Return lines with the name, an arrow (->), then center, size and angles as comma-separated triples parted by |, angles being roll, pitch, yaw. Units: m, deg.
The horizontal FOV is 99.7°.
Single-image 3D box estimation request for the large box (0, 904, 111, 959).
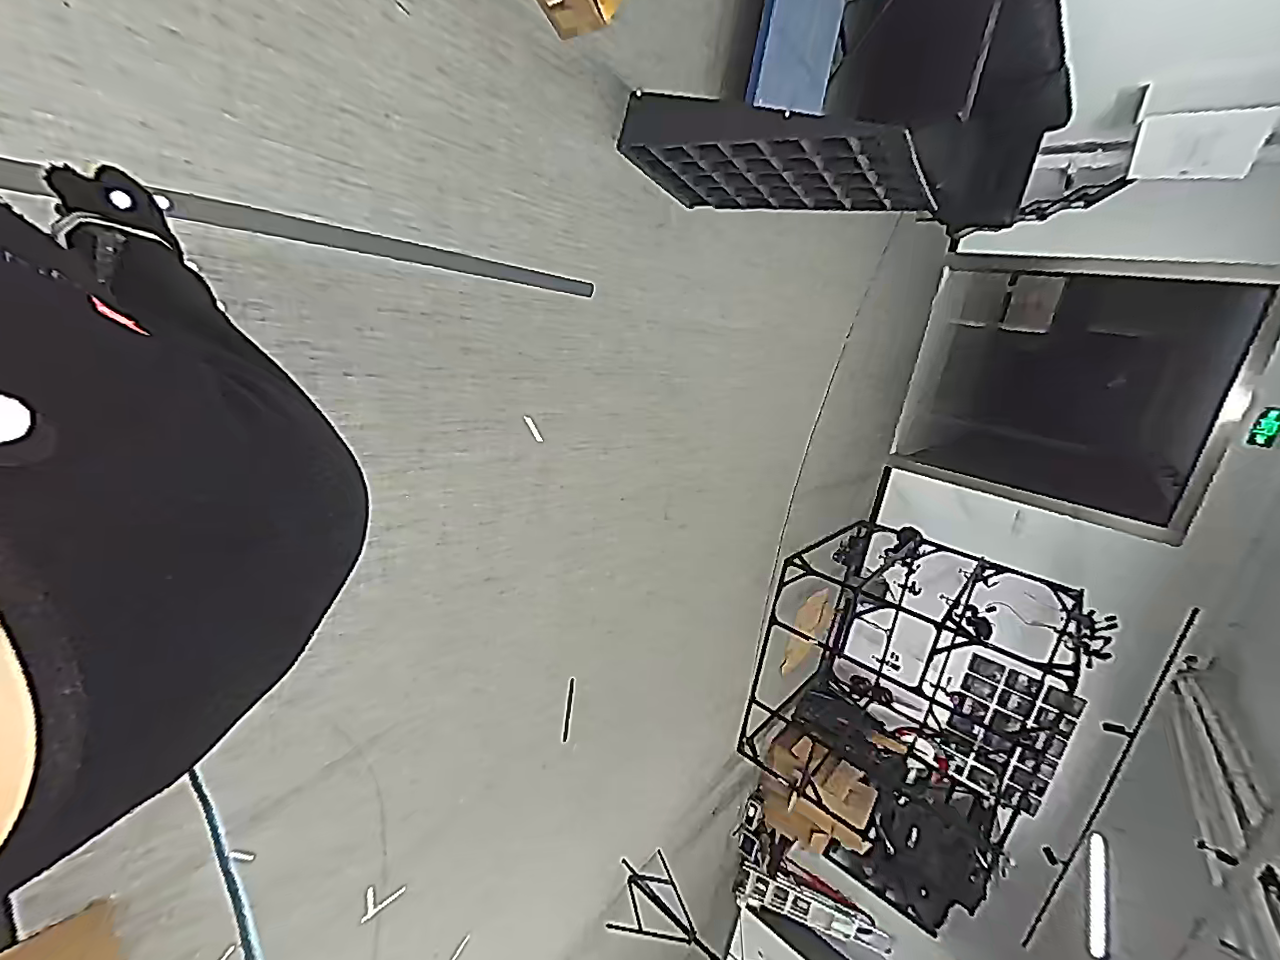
large box -> -1.403, 1.264, 1.162 | 0.408, 0.320, 0.320 | -10, 115, -50
